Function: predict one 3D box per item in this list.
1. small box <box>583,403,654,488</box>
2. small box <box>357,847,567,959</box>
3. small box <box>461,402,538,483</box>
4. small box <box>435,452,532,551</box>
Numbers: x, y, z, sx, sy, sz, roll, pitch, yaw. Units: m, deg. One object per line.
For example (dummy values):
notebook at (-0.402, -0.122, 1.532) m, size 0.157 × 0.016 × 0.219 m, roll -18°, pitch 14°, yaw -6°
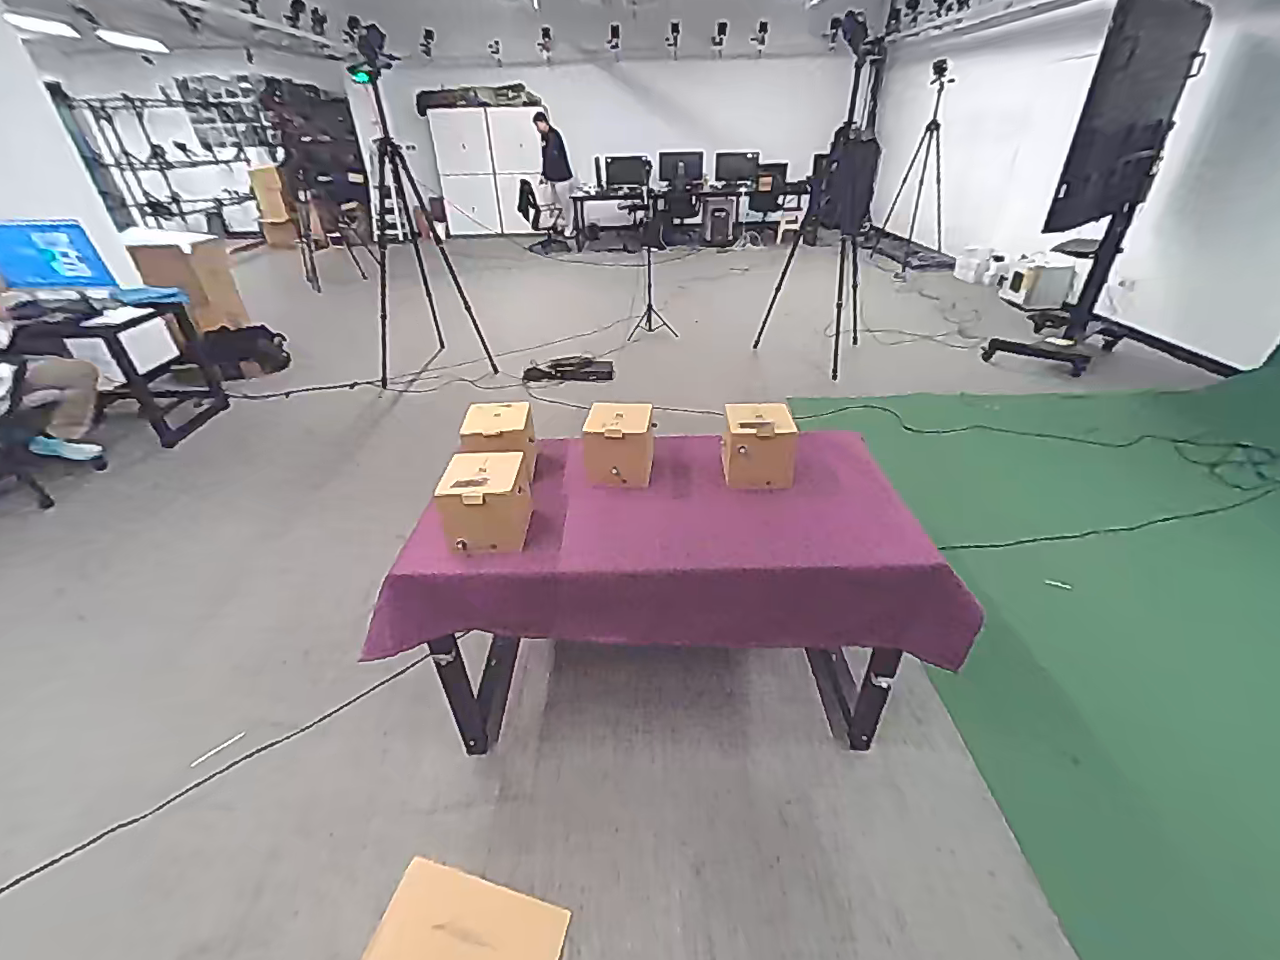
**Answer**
small box at (-0.052, -0.096, 1.467) m, size 0.168 × 0.176 × 0.179 m, roll 2°, pitch 34°, yaw 7°
small box at (-0.176, 0.496, 0.510) m, size 0.168 × 0.176 × 0.179 m, roll 15°, pitch 39°, yaw 6°
small box at (-0.378, -0.098, 1.487) m, size 0.168 × 0.176 × 0.179 m, roll -3°, pitch 34°, yaw -3°
small box at (-0.351, 0.052, 1.253) m, size 0.168 × 0.176 × 0.179 m, roll -1°, pitch 32°, yaw 0°
